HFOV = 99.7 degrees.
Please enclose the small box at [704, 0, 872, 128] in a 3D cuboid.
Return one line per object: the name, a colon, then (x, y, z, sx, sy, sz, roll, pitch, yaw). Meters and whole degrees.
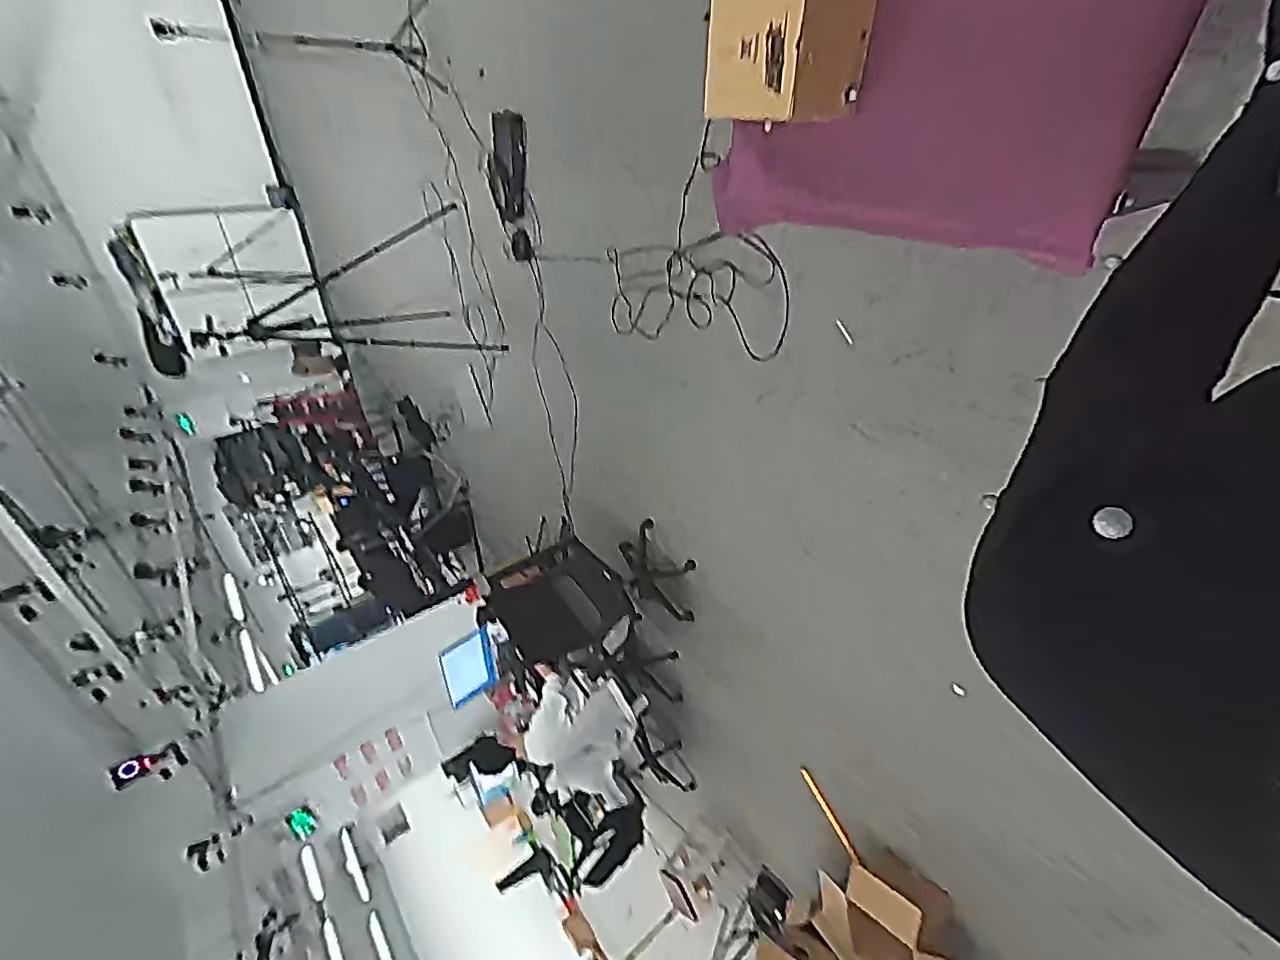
small box: (0.224, -0.645, 0.833, 0.179, 0.176, 0.168, 34, 135, 40)
